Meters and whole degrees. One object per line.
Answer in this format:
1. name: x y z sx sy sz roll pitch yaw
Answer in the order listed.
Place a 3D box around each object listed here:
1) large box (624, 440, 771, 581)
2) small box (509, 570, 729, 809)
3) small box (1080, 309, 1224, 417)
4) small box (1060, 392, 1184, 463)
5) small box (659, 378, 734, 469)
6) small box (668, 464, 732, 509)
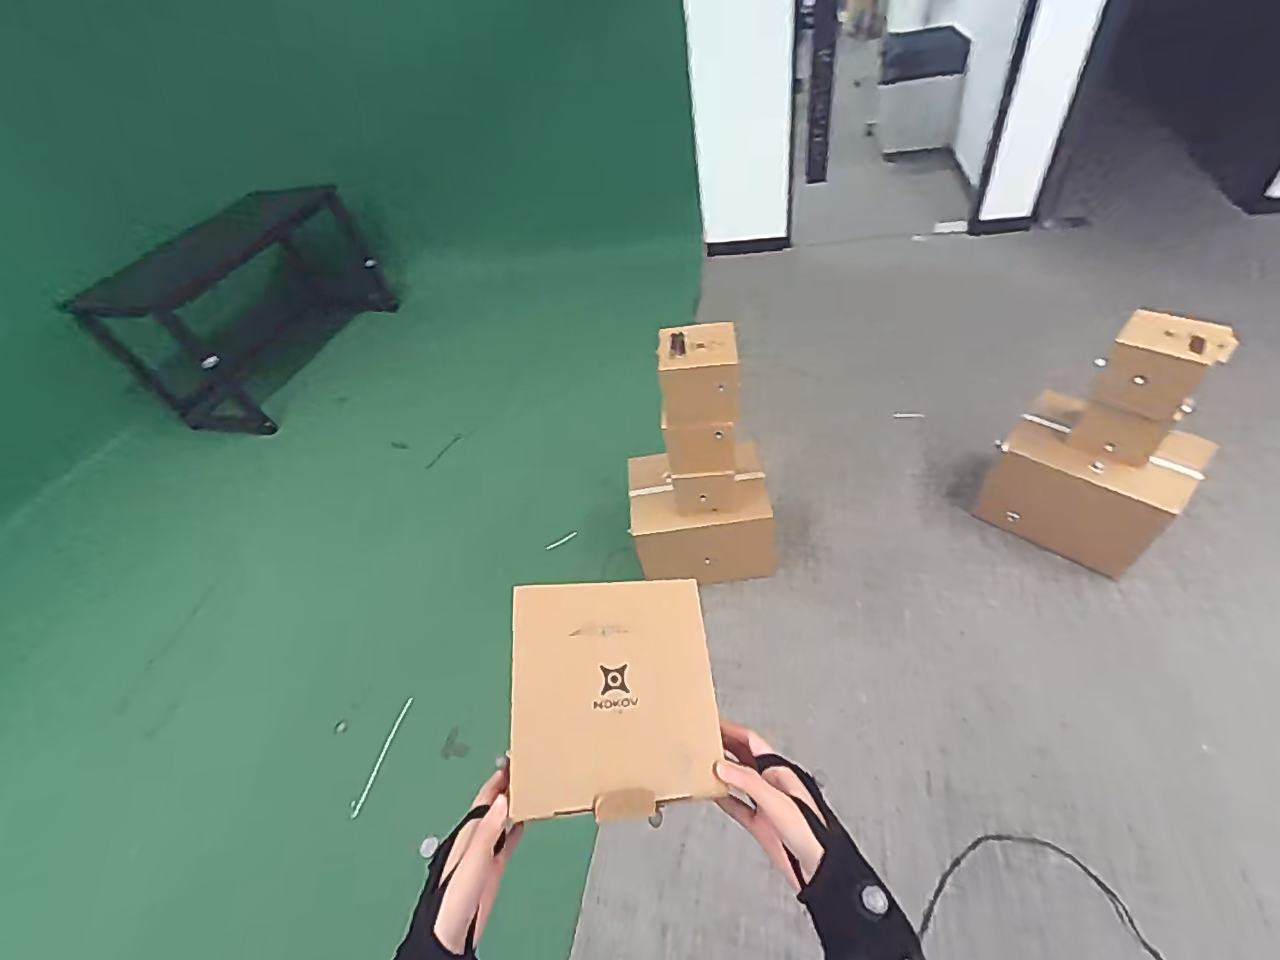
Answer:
1. large box: 0.181 0.115 1.714 0.408 0.320 0.320 -9 46 5
2. small box: -0.030 0.196 0.502 0.168 0.176 0.179 1 59 -11
3. small box: 1.209 -0.274 1.289 0.168 0.176 0.179 -40 51 -24
4. small box: 1.251 -0.170 1.411 0.179 0.176 0.168 29 58 31
5. small box: 0.148 -0.142 1.397 0.179 0.176 0.168 -3 48 9
6. small box: 0.170 -0.029 1.512 0.168 0.176 0.179 -4 48 8
